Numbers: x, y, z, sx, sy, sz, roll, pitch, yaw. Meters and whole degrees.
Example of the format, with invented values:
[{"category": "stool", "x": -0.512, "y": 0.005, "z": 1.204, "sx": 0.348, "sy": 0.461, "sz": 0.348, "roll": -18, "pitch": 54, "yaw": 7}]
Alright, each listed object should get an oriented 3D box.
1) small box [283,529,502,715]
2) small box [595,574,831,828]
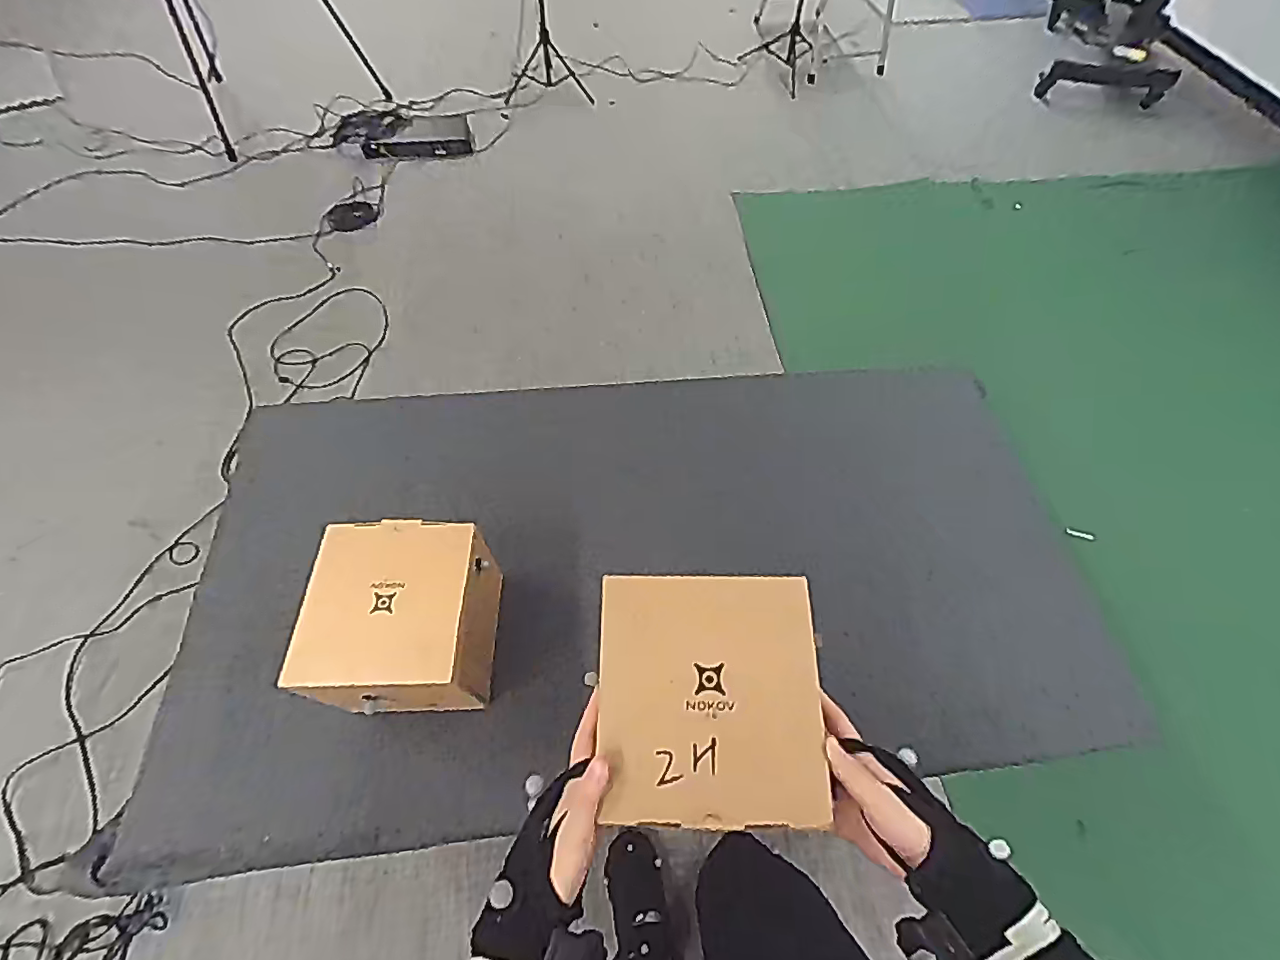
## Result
[{"category": "small box", "x": -0.265, "y": 0.172, "z": 0.630, "sx": 0.168, "sy": 0.176, "sz": 0.179, "roll": -1, "pitch": 58, "yaw": -2}, {"category": "small box", "x": 0.054, "y": 0.191, "z": 0.479, "sx": 0.168, "sy": 0.176, "sz": 0.179, "roll": 1, "pitch": 66, "yaw": 2}]
